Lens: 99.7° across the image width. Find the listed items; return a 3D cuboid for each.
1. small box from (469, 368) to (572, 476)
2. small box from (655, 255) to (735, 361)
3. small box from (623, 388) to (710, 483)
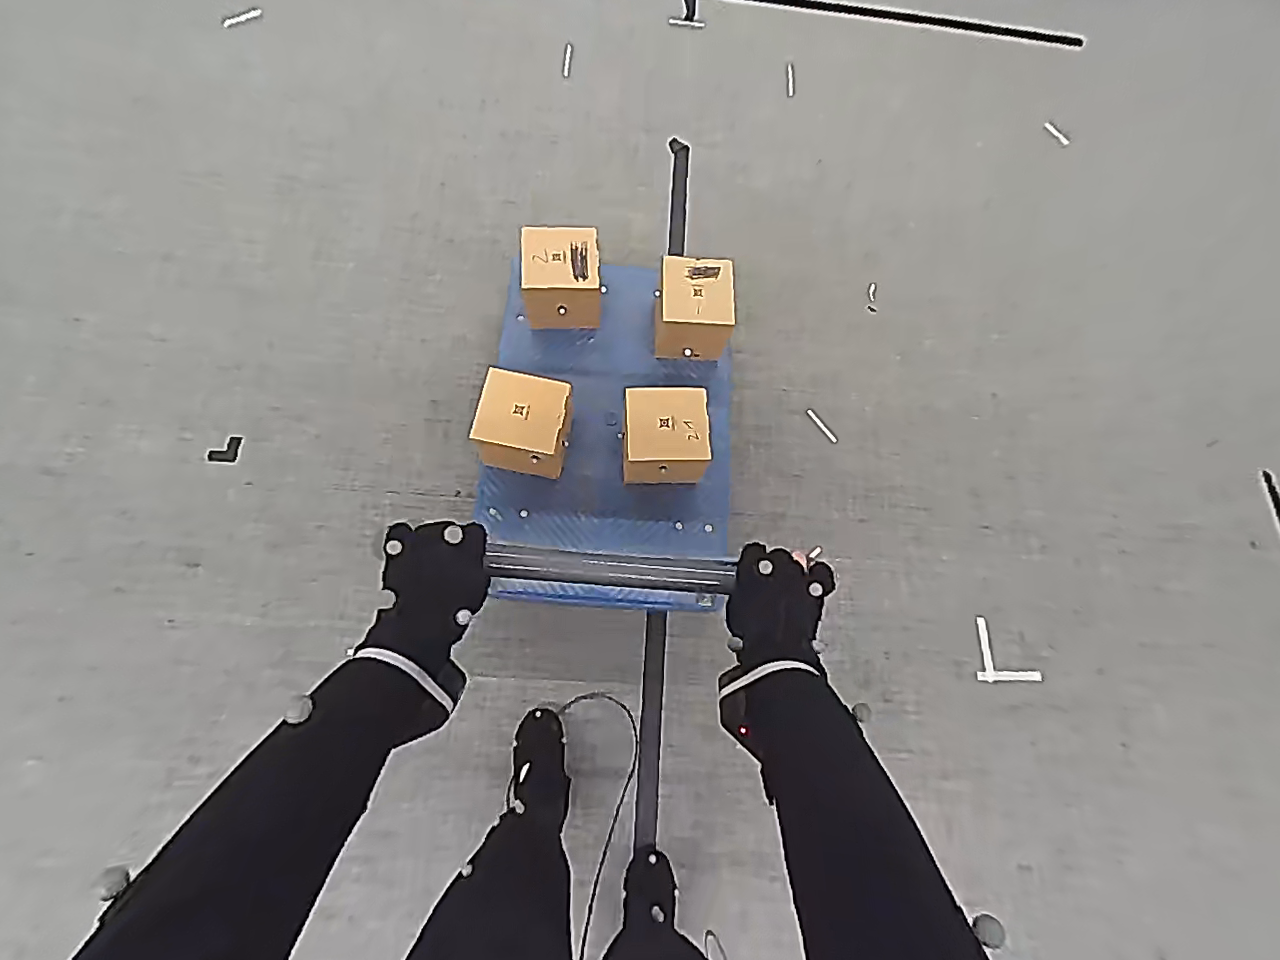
[{"bbox_3d":[-0.252,-0.119,1.179,0.179,0.176,0.168,11,73,-3],"label":"small box"},{"bbox_3d":[0.126,-0.409,1.300,0.168,0.176,0.179,2,74,-4],"label":"small box"},{"bbox_3d":[0.050,-0.093,1.199,0.179,0.176,0.168,0,74,-5],"label":"small box"}]
